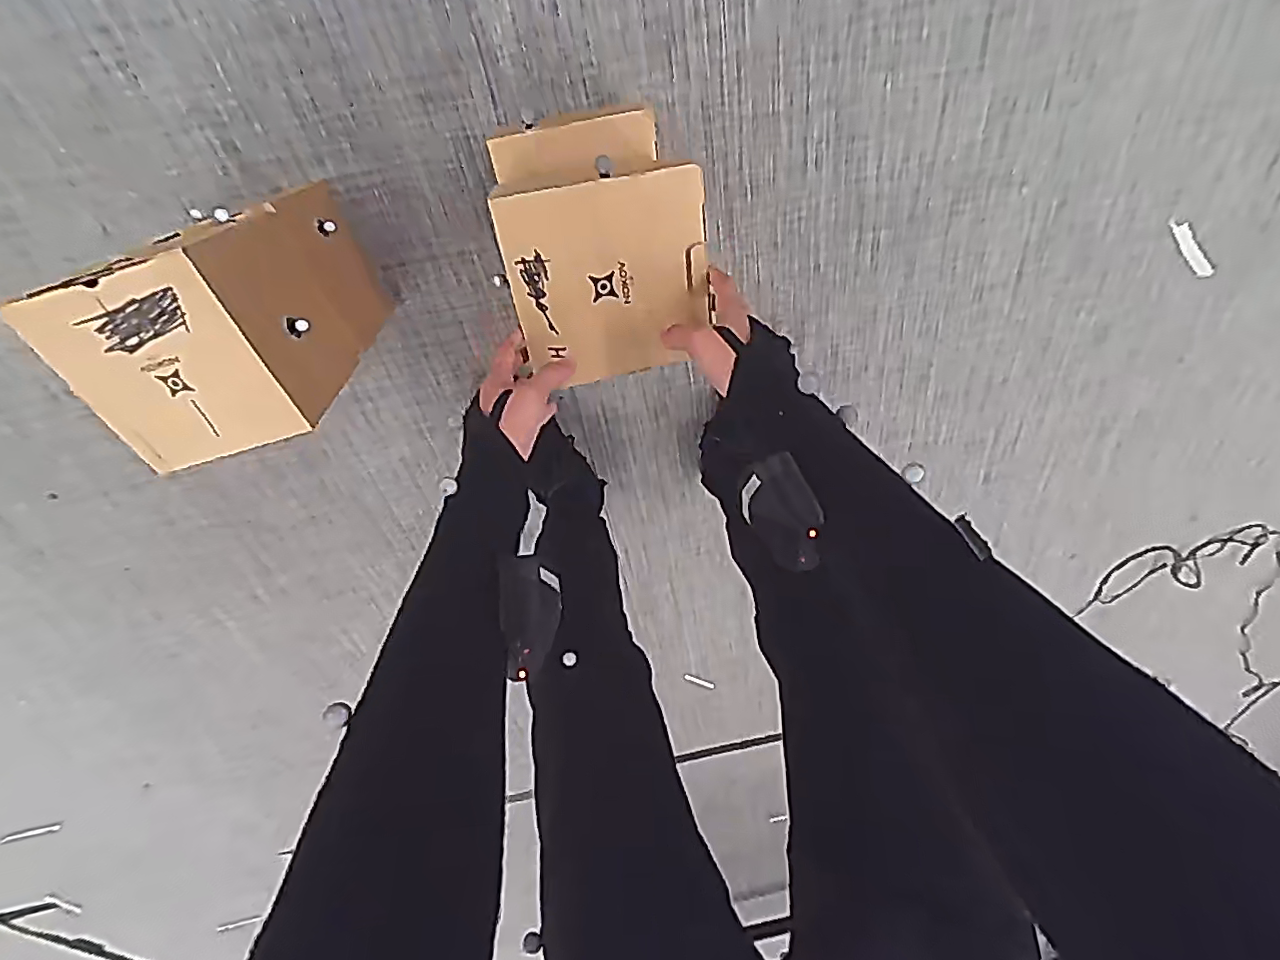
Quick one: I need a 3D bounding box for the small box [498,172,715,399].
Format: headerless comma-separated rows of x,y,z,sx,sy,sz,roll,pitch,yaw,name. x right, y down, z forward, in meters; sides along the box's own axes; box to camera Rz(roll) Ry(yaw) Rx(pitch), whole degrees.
-0.037,-0.202,0.540,0.179,0.176,0.168,-13,122,-6,small box

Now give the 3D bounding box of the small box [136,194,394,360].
-0.439,-0.238,0.672,0.168,0.176,0.179,-17,127,3,small box

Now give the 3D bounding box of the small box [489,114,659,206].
-0.071,-0.339,0.665,0.179,0.176,0.168,-12,127,-2,small box

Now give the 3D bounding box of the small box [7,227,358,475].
-0.422,-0.138,0.543,0.168,0.176,0.179,-15,127,2,small box
